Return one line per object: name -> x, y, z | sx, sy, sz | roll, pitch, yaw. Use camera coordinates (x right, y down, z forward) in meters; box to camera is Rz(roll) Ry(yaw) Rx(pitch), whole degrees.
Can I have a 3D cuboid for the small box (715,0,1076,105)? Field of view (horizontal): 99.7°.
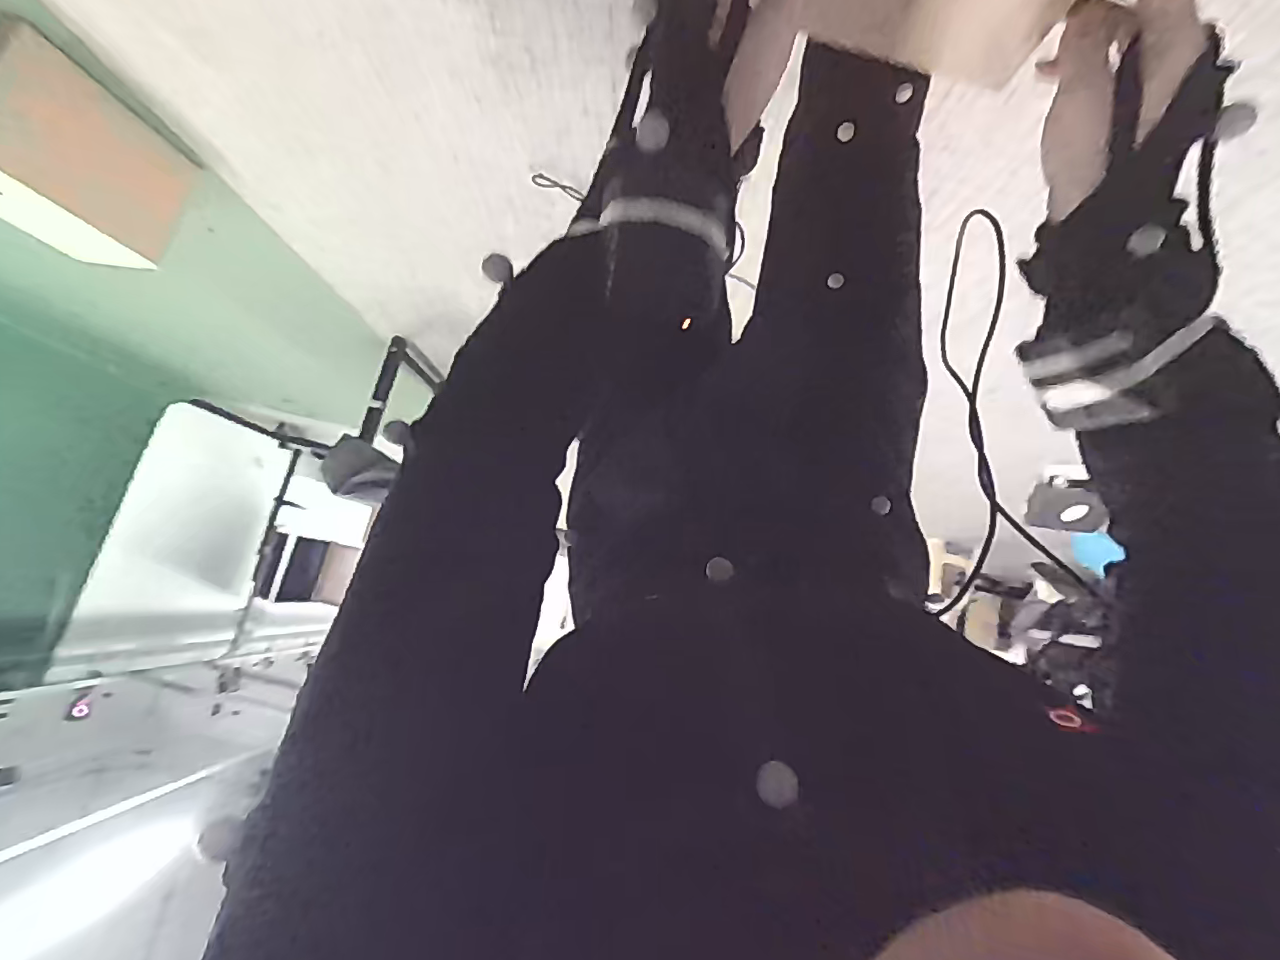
small box -> 0.153, -0.339, 0.262 | 0.179, 0.176, 0.168 | 14, 166, -2
